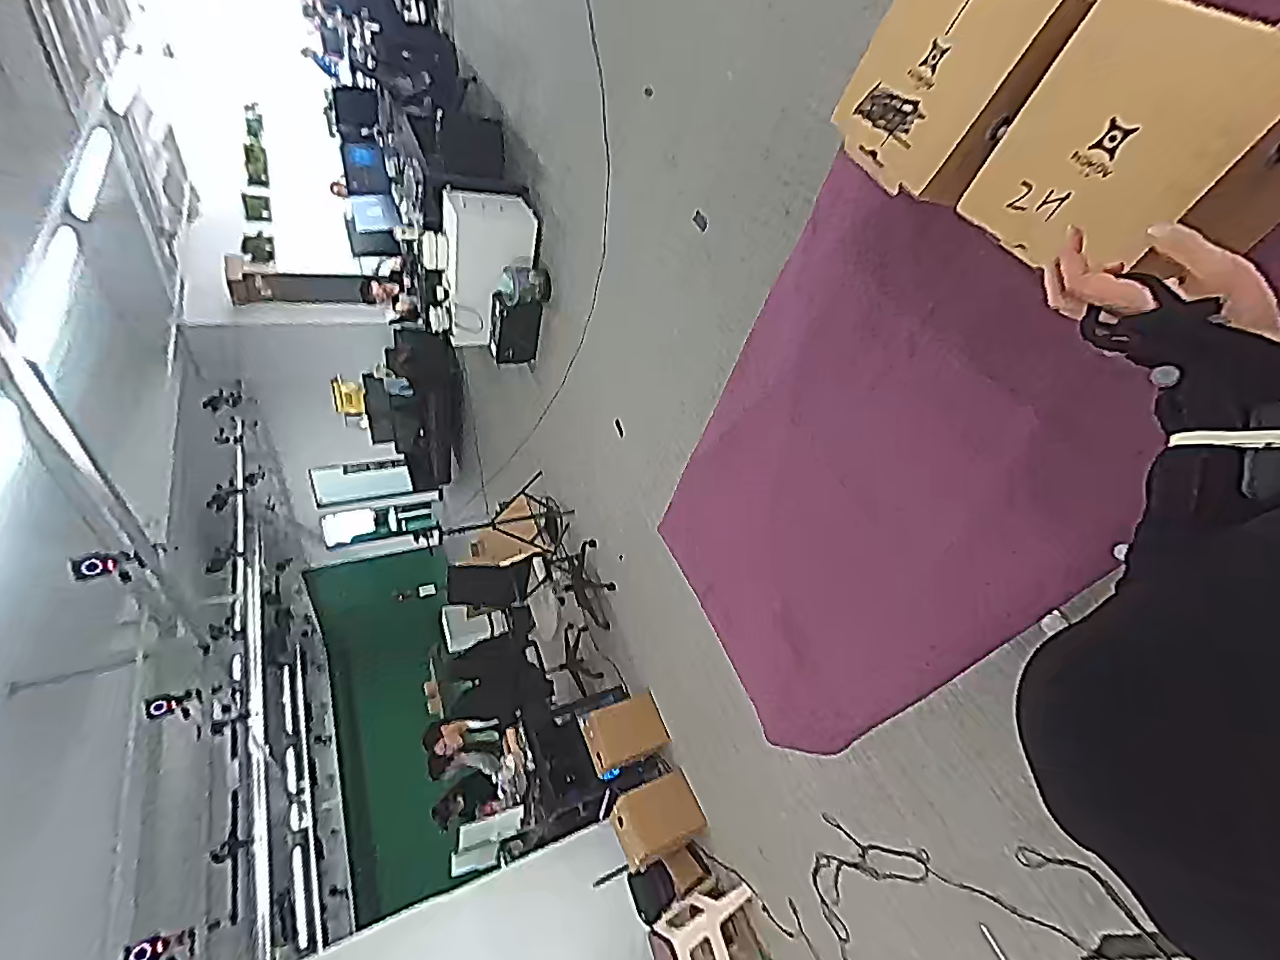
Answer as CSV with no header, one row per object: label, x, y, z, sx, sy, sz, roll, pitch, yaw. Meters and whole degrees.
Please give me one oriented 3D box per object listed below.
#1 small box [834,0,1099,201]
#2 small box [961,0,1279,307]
small box,0.352,-0.415,0.566,0.168,0.176,0.179,63,147,27
small box,0.434,-0.268,0.457,0.168,0.176,0.179,64,149,32
